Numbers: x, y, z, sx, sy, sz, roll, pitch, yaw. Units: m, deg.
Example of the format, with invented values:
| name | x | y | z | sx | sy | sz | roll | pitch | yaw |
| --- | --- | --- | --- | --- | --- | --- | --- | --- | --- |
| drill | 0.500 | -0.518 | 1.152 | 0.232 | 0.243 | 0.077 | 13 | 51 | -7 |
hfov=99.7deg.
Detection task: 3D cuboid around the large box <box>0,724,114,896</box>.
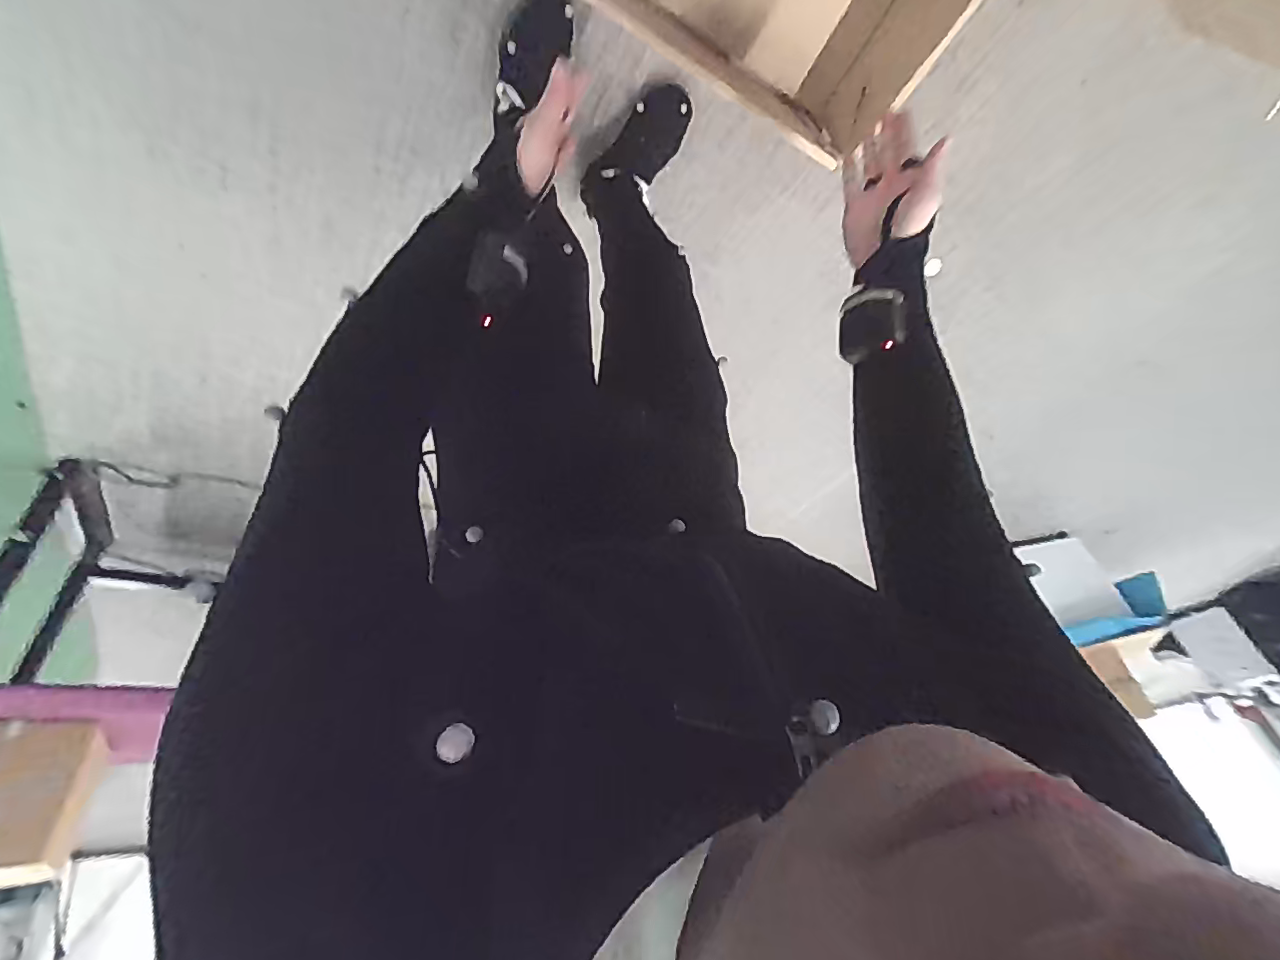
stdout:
| name | x | y | z | sx | sy | sz | roll | pitch | yaw |
| --- | --- | --- | --- | --- | --- | --- | --- | --- | --- |
| large box | -1.595 | 0.832 | 1.351 | 0.320 | 0.320 | 0.408 | 15 | 136 | -31 |
